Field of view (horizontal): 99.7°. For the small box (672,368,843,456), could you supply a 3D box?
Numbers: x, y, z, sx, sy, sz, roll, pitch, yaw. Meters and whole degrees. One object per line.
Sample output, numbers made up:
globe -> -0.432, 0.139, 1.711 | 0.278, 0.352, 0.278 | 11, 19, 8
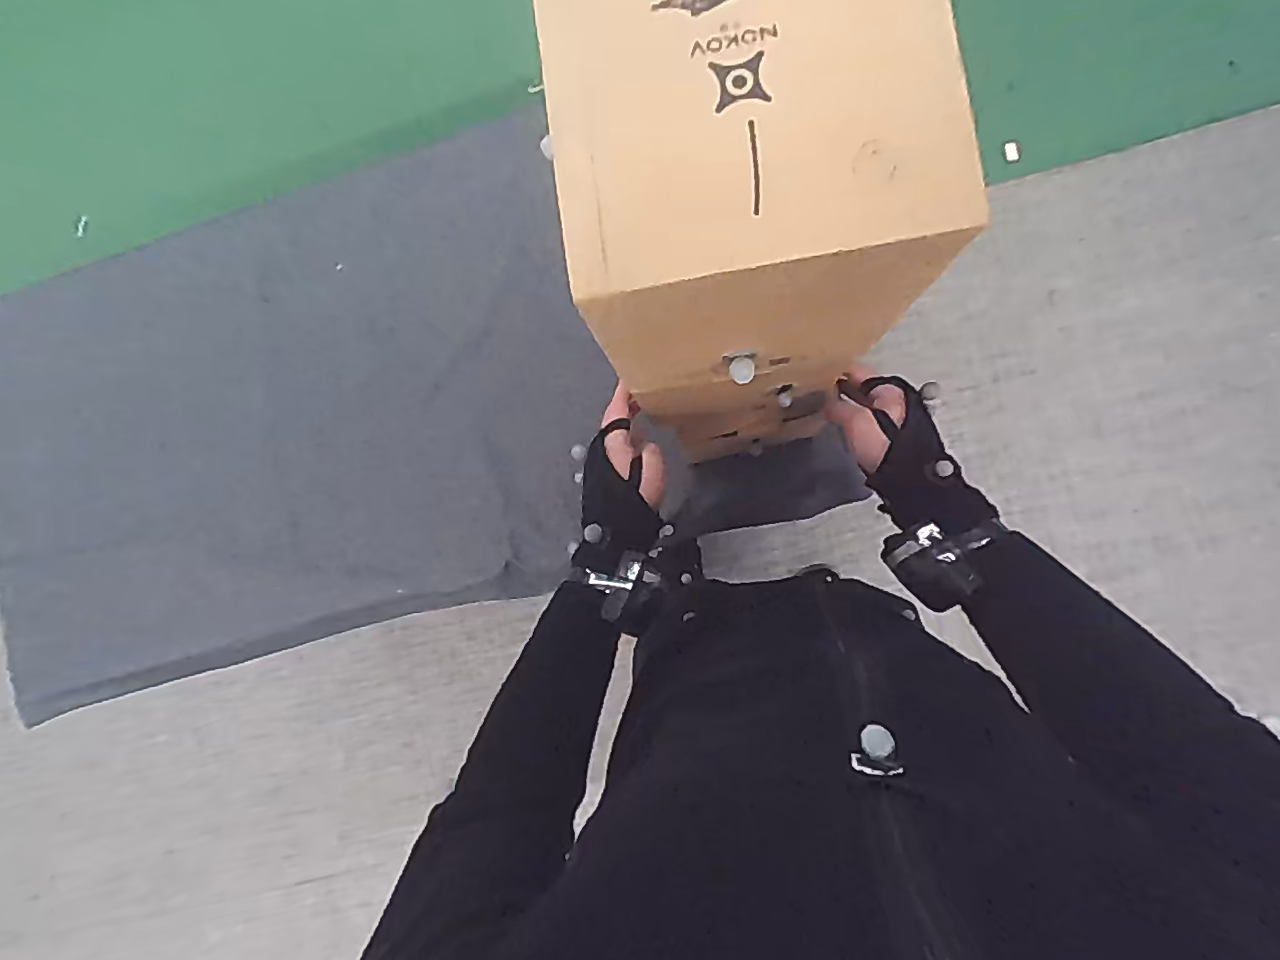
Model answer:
small box -> 0.112, -0.129, 0.612 | 0.168, 0.176, 0.179 | -13, 83, 7

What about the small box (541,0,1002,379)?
small box -> 0.052, -0.170, 0.292 | 0.168, 0.176, 0.179 | -8, 84, 7

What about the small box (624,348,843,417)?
small box -> 0.072, -0.158, 0.455 | 0.168, 0.176, 0.179 | -9, 82, 7
